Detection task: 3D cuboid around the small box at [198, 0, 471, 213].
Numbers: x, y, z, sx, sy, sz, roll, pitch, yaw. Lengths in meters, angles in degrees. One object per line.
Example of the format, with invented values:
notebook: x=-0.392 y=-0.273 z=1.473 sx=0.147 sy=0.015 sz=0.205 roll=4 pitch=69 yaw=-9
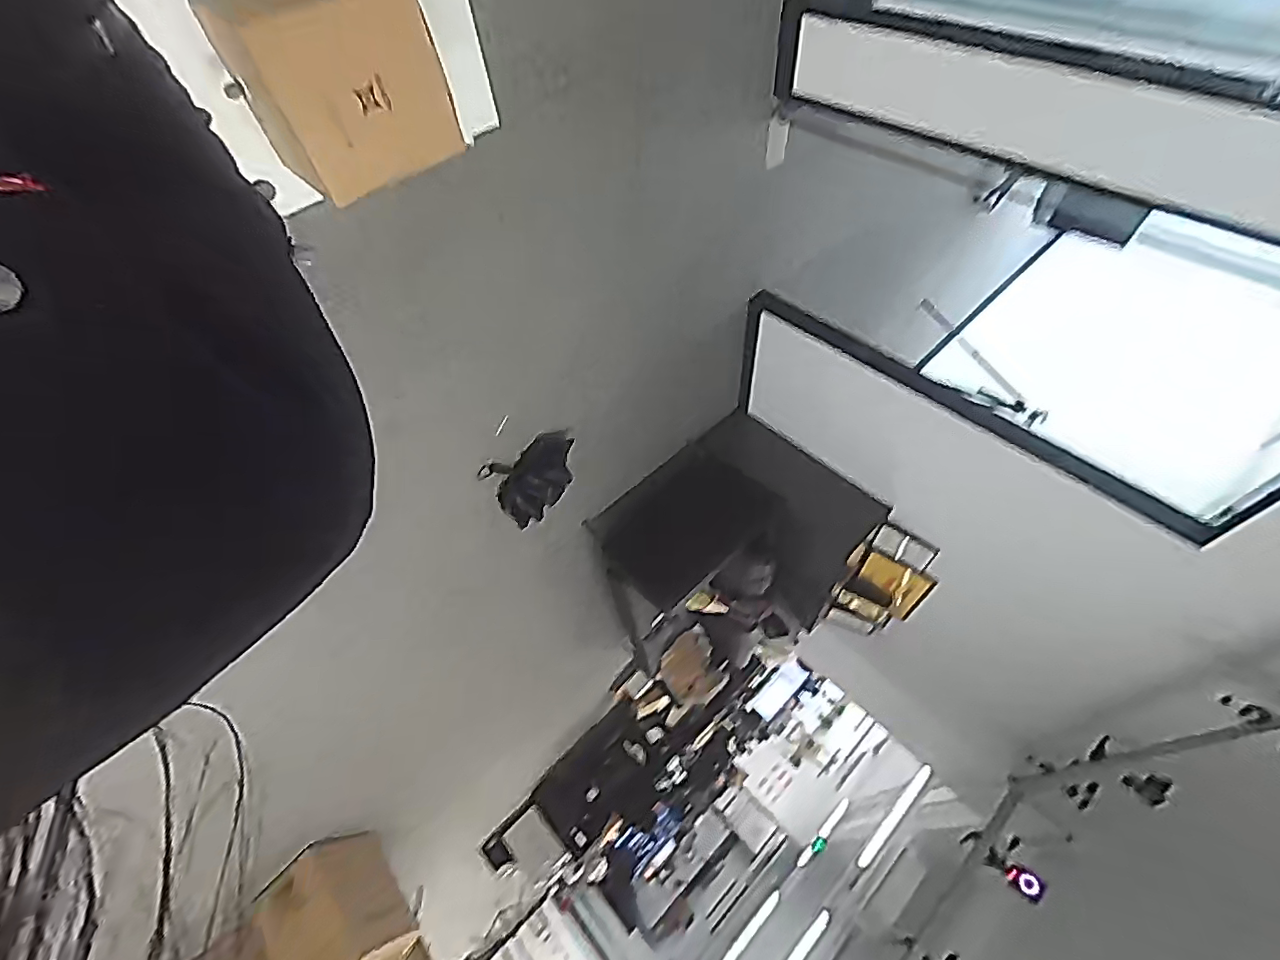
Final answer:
small box: x=-0.325 y=-0.433 z=0.592 sx=0.179 sy=0.176 sz=0.168 roll=-38 pitch=149 yaw=-18
